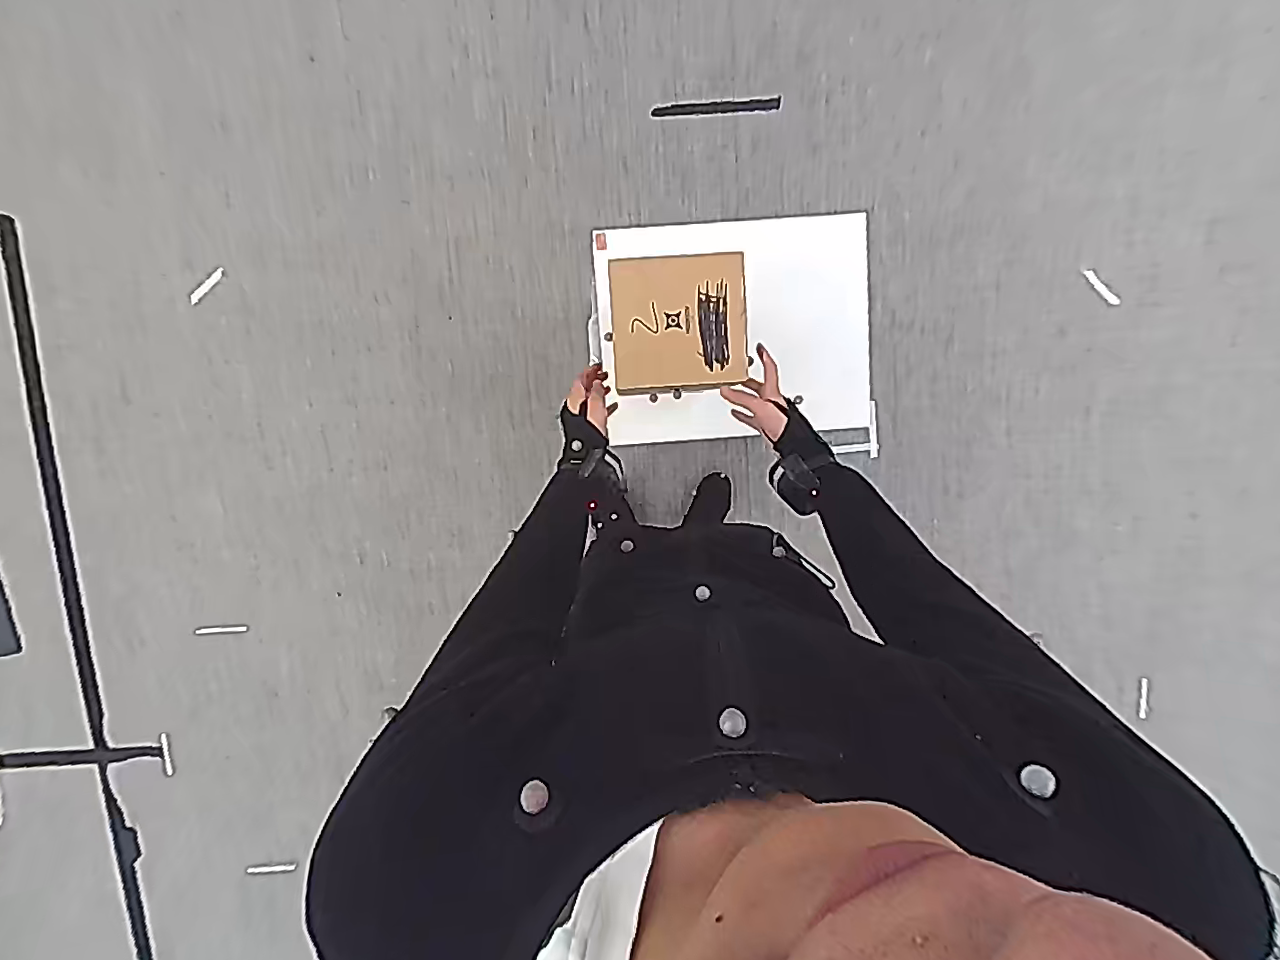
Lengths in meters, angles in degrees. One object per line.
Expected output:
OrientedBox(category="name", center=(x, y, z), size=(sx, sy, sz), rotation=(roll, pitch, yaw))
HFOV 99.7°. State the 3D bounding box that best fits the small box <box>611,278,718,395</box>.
OrientedBox(category="small box", center=(0.038, -0.238, 0.934), size=(0.168, 0.176, 0.179), rotation=(-4, 97, -2))
